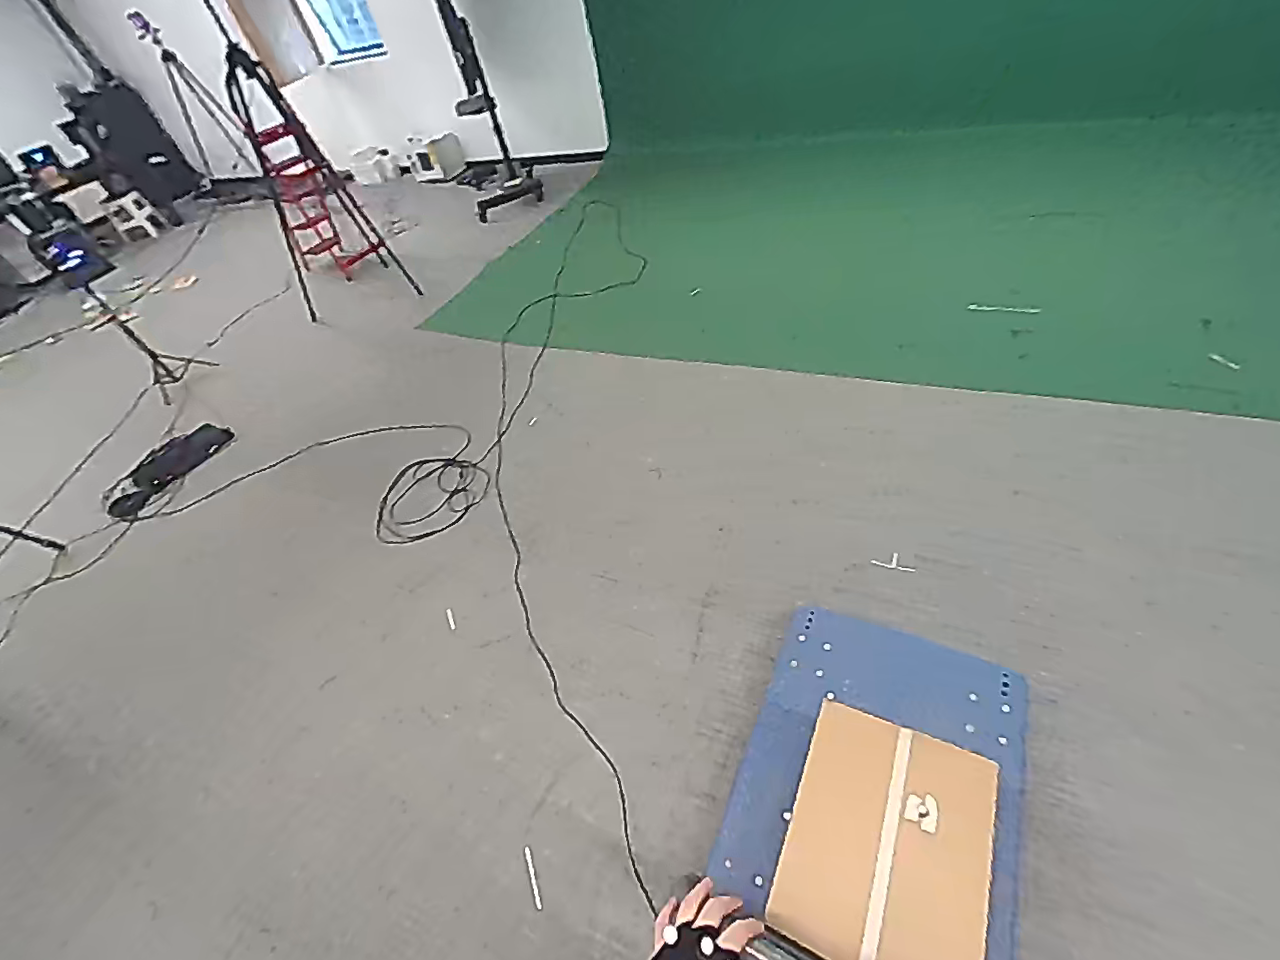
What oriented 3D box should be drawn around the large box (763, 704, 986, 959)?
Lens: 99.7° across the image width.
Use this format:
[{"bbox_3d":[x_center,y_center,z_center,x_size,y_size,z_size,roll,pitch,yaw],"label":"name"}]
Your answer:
[{"bbox_3d":[0.446,0.736,1.049,0.320,0.320,0.408,14,51,25],"label":"large box"}]
